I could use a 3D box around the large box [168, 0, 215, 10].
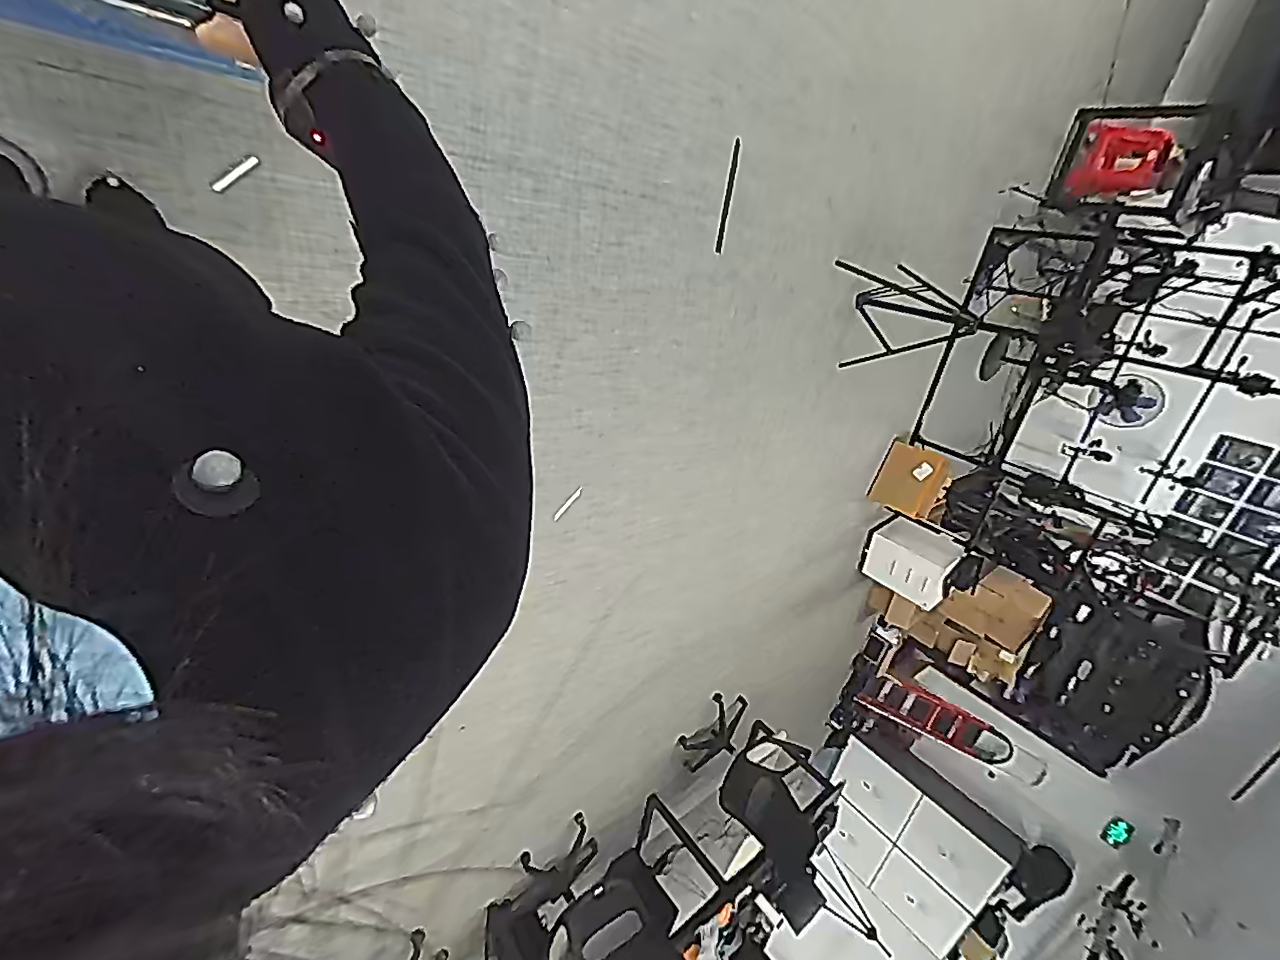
[{"bbox_3d":[-0.731,-0.799,0.594,0.408,0.320,0.320,-13,124,-40],"label":"large box"}]
